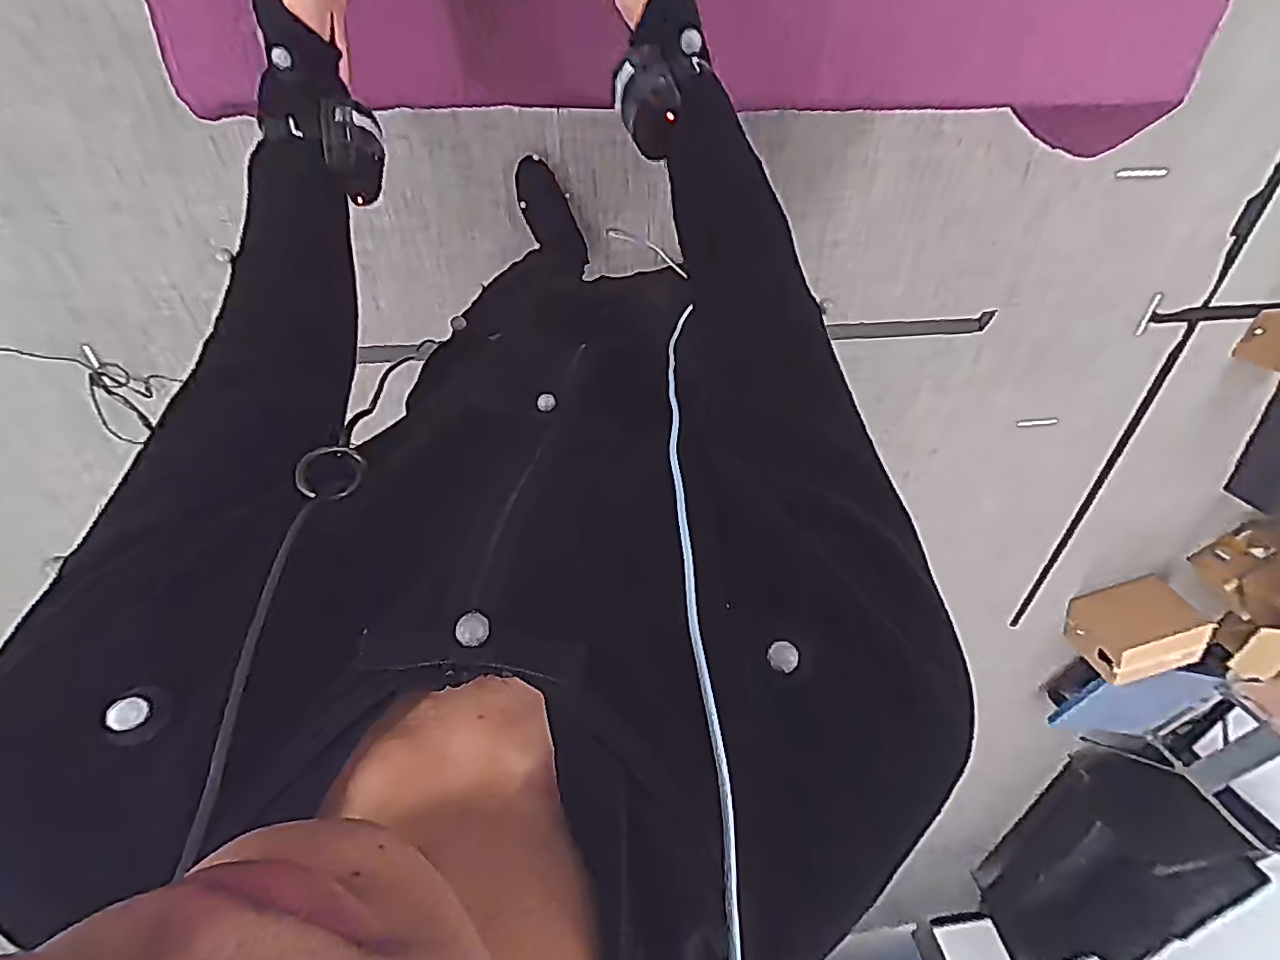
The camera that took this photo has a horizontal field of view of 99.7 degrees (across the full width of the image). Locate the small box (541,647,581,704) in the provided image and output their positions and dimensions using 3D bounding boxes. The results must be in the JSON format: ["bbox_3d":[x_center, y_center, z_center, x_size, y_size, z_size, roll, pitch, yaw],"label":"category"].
[{"bbox_3d":[-0.342,0.837,2.336,0.168,0.176,0.179,-2,127,-7],"label":"small box"}]

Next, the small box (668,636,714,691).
[{"bbox_3d":[0.225,0.813,2.419,0.168,0.176,0.179,-4,127,-7],"label":"small box"}]
